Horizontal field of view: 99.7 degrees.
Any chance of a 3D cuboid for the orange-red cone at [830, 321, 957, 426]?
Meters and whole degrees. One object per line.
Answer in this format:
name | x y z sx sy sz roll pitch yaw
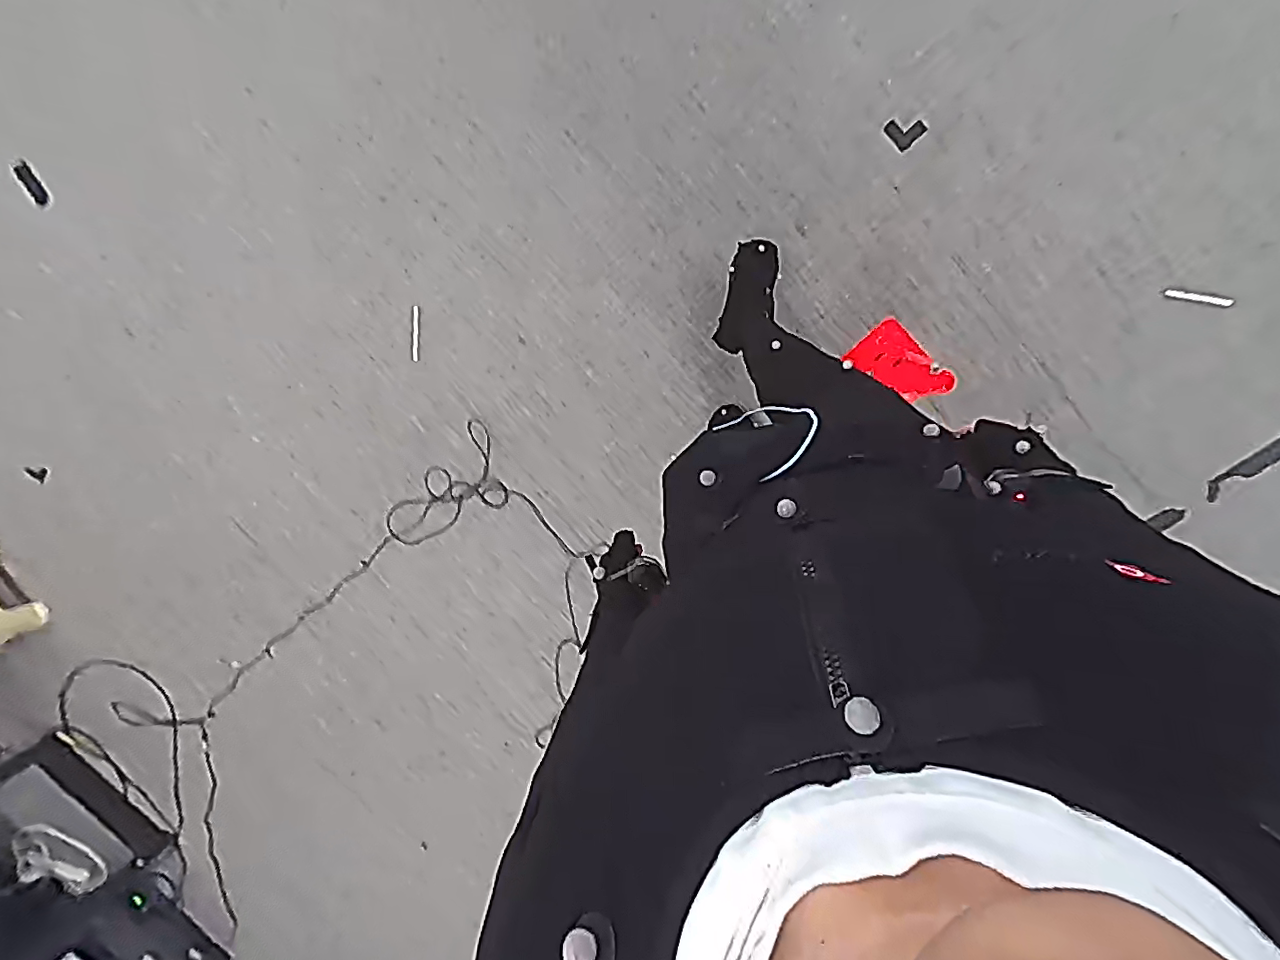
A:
orange-red cone | 0.573 -0.218 1.145 0.199 0.360 0.198 -42 96 13
